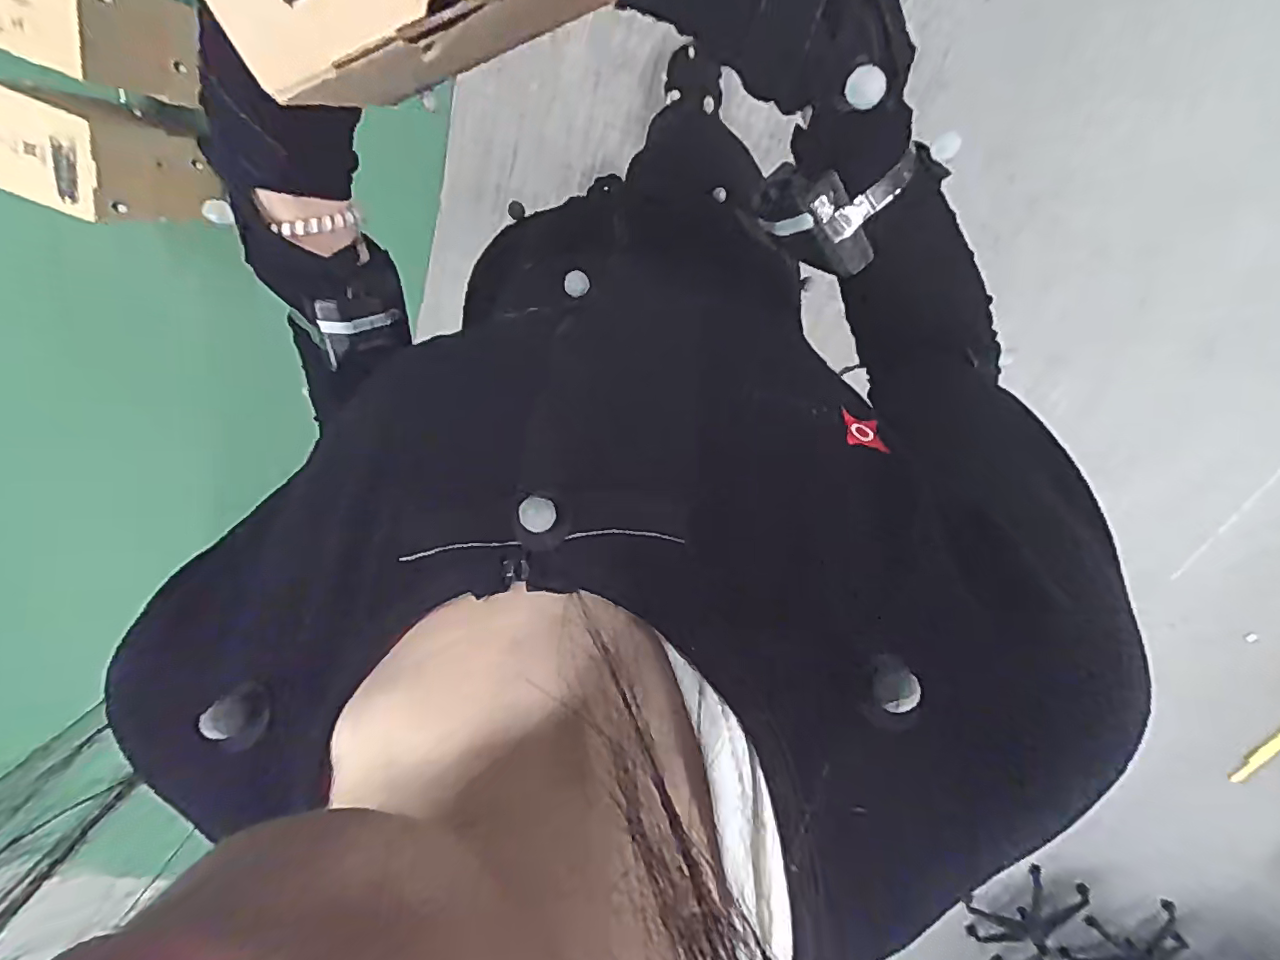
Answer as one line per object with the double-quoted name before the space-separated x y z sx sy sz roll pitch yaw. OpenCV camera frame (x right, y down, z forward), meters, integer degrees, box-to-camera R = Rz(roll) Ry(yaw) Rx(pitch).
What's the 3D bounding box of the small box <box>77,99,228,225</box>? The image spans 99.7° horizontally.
"small box" -1.010 -0.662 1.136 0.179 0.176 0.168 21 116 -12
